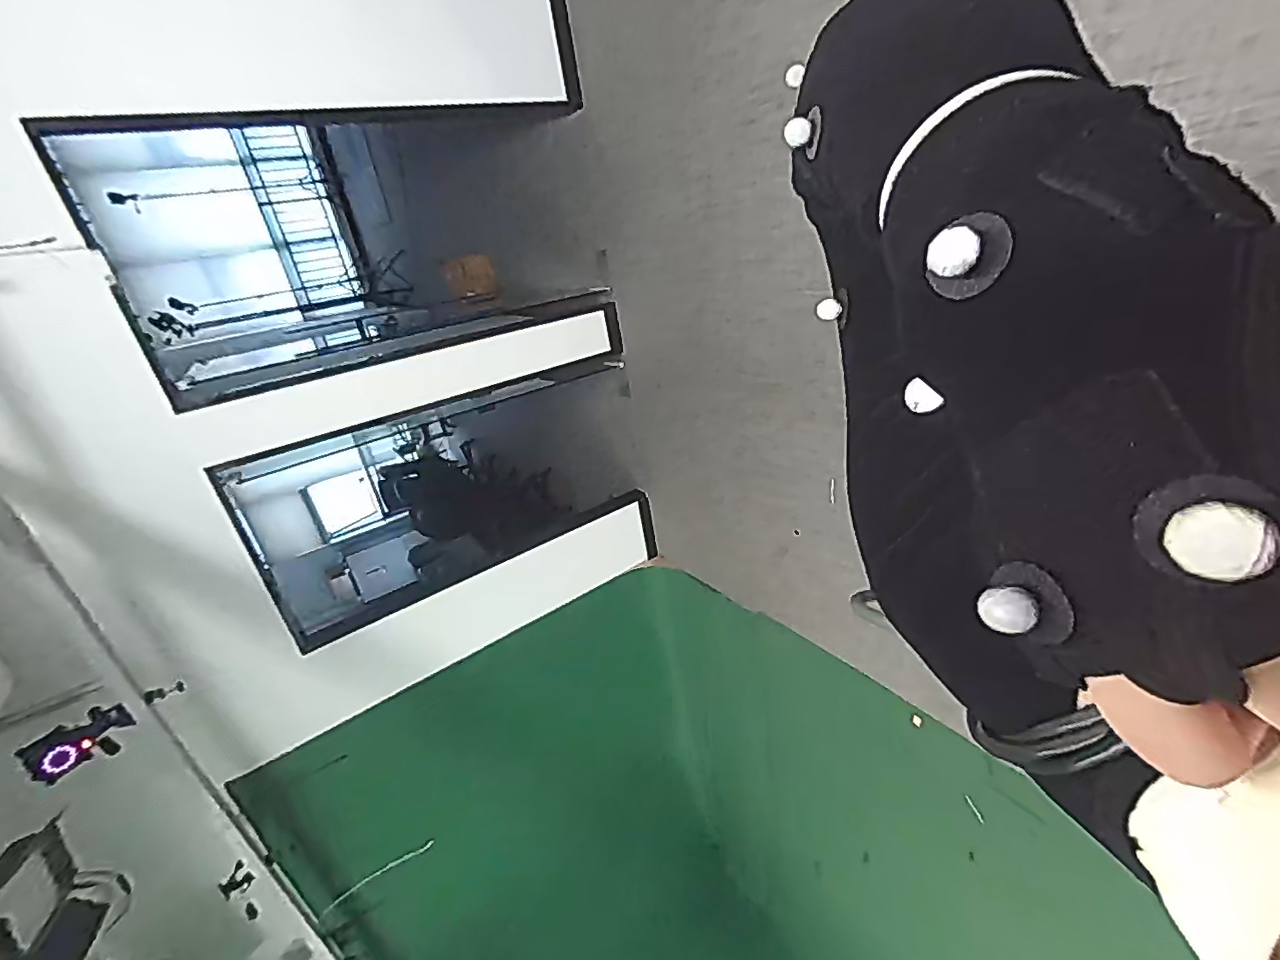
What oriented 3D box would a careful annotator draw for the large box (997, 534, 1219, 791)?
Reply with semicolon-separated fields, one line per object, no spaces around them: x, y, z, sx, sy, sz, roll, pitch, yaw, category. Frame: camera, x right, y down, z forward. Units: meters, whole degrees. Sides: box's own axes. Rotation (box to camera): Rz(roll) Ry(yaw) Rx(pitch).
1.069;0.390;1.255;0.320;0.320;0.408;18;126;54;large box
